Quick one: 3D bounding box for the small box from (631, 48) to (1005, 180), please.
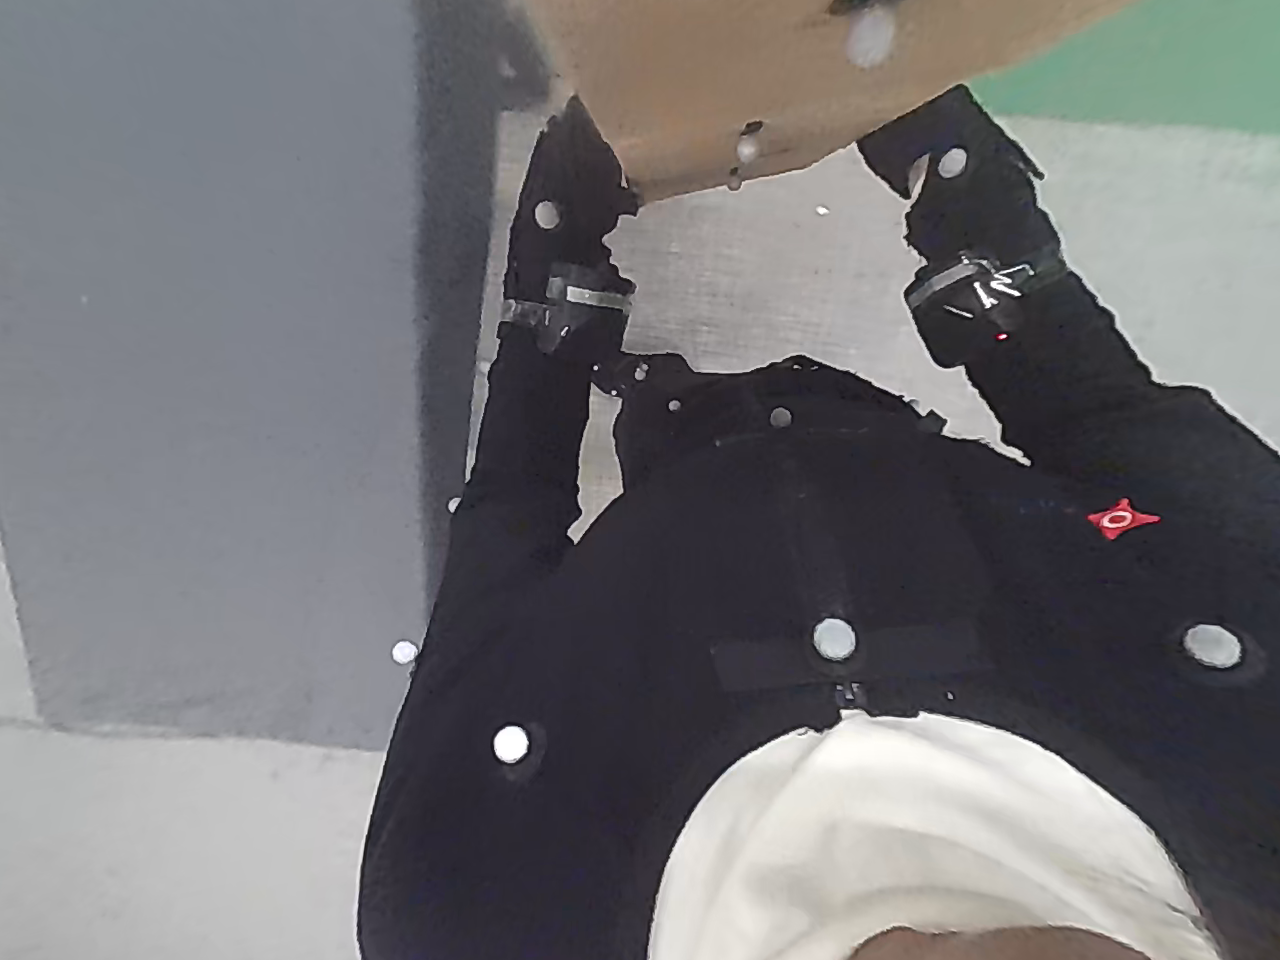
[{"bbox_3d":[0.065,-0.280,0.285,0.168,0.176,0.179,-10,113,6],"label":"small box"}]
